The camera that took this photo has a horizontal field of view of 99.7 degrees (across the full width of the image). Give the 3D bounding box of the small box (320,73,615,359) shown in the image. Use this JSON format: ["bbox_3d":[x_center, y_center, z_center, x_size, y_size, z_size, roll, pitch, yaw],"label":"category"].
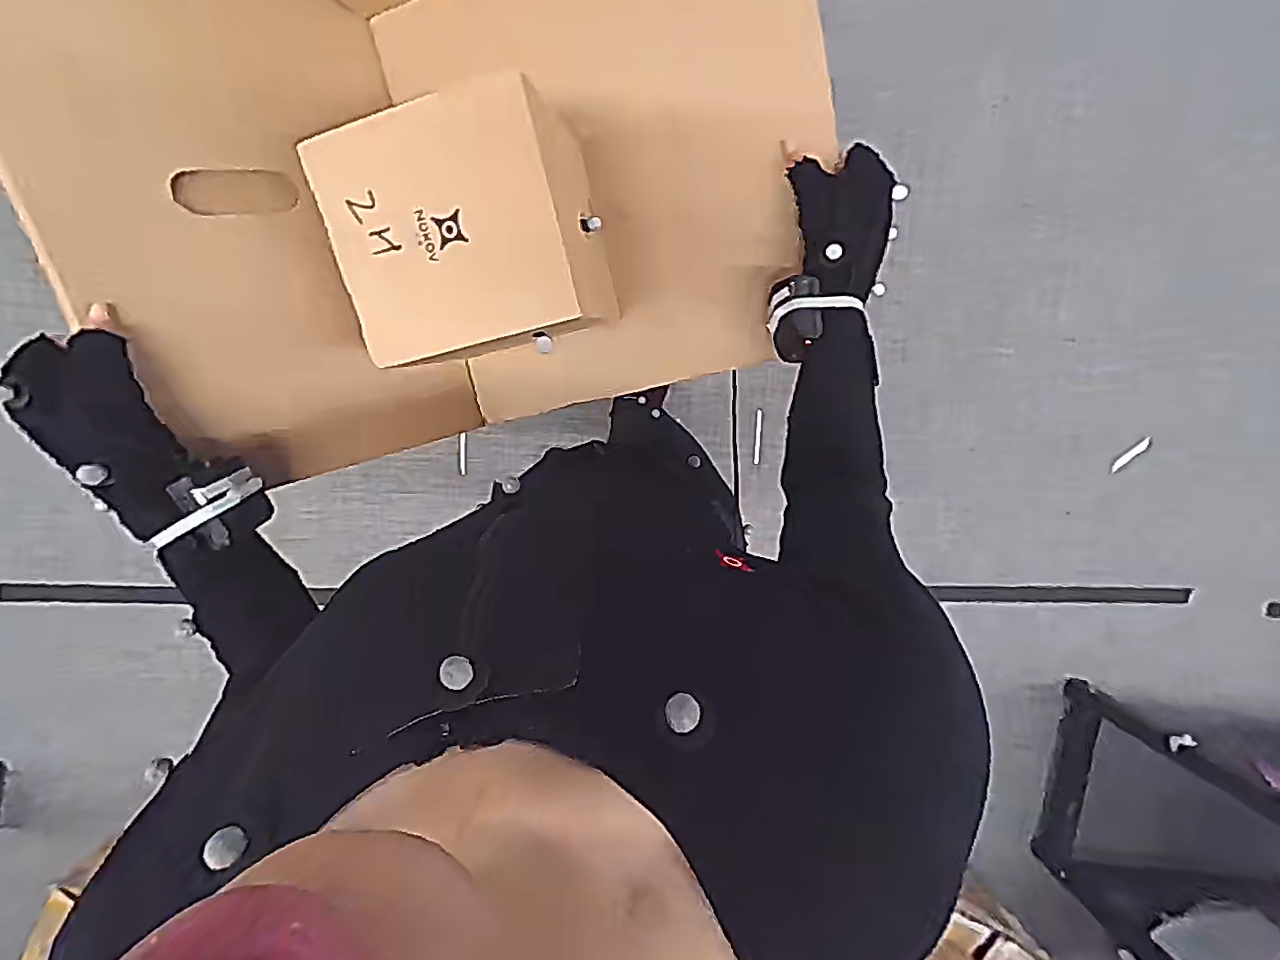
[{"bbox_3d":[-0.126,-0.209,0.477,0.179,0.176,0.168,-9,104,11],"label":"small box"}]
